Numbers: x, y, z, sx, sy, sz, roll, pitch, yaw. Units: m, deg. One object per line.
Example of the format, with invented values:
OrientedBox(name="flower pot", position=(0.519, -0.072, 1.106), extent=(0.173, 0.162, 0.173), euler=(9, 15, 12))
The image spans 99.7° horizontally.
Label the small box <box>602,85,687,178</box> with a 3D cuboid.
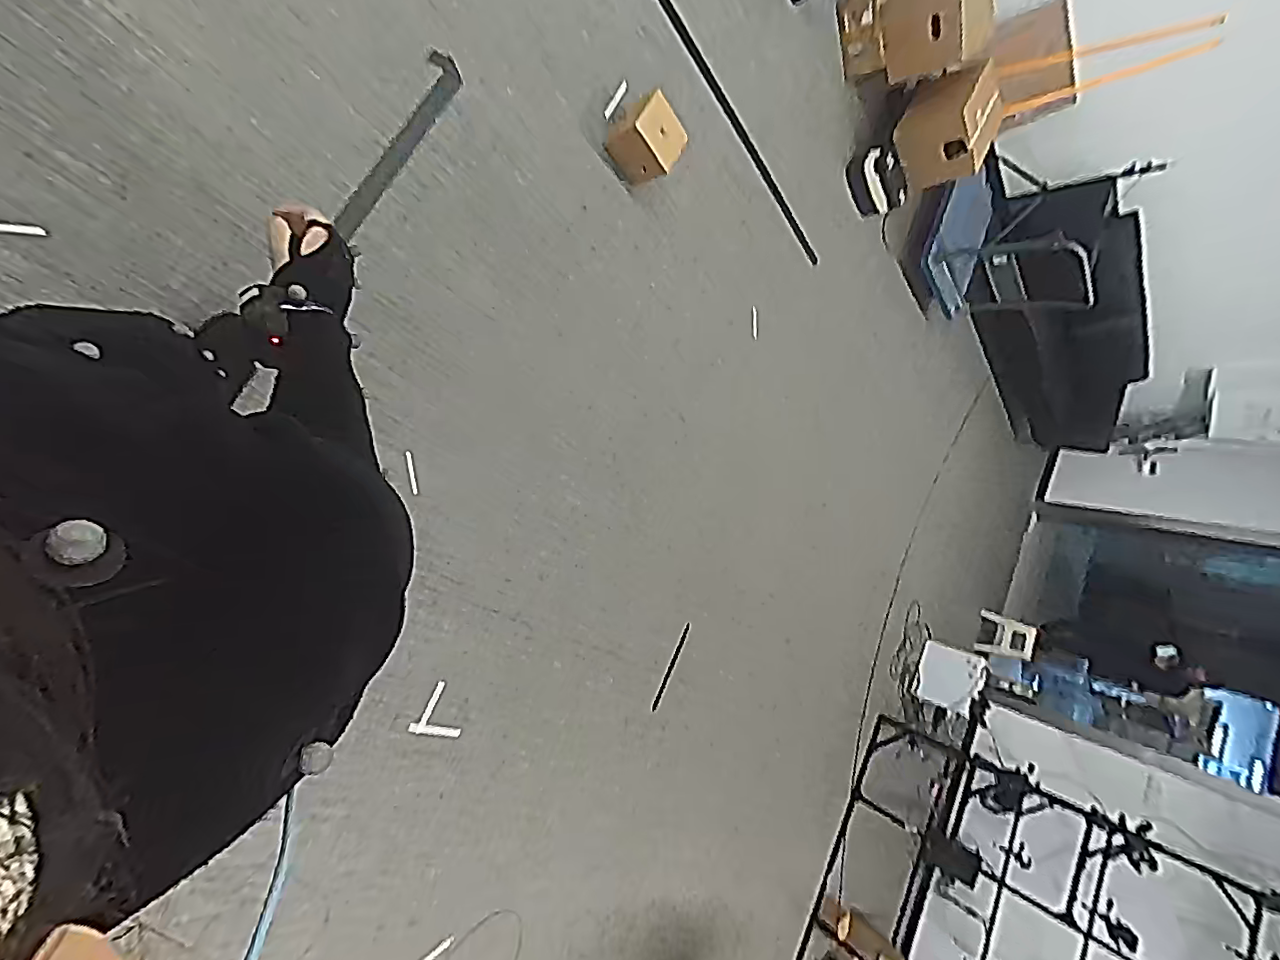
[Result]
OrientedBox(name="small box", position=(0.013, -1.104, 1.736), extent=(0.179, 0.176, 0.168), euler=(39, 72, -39))
